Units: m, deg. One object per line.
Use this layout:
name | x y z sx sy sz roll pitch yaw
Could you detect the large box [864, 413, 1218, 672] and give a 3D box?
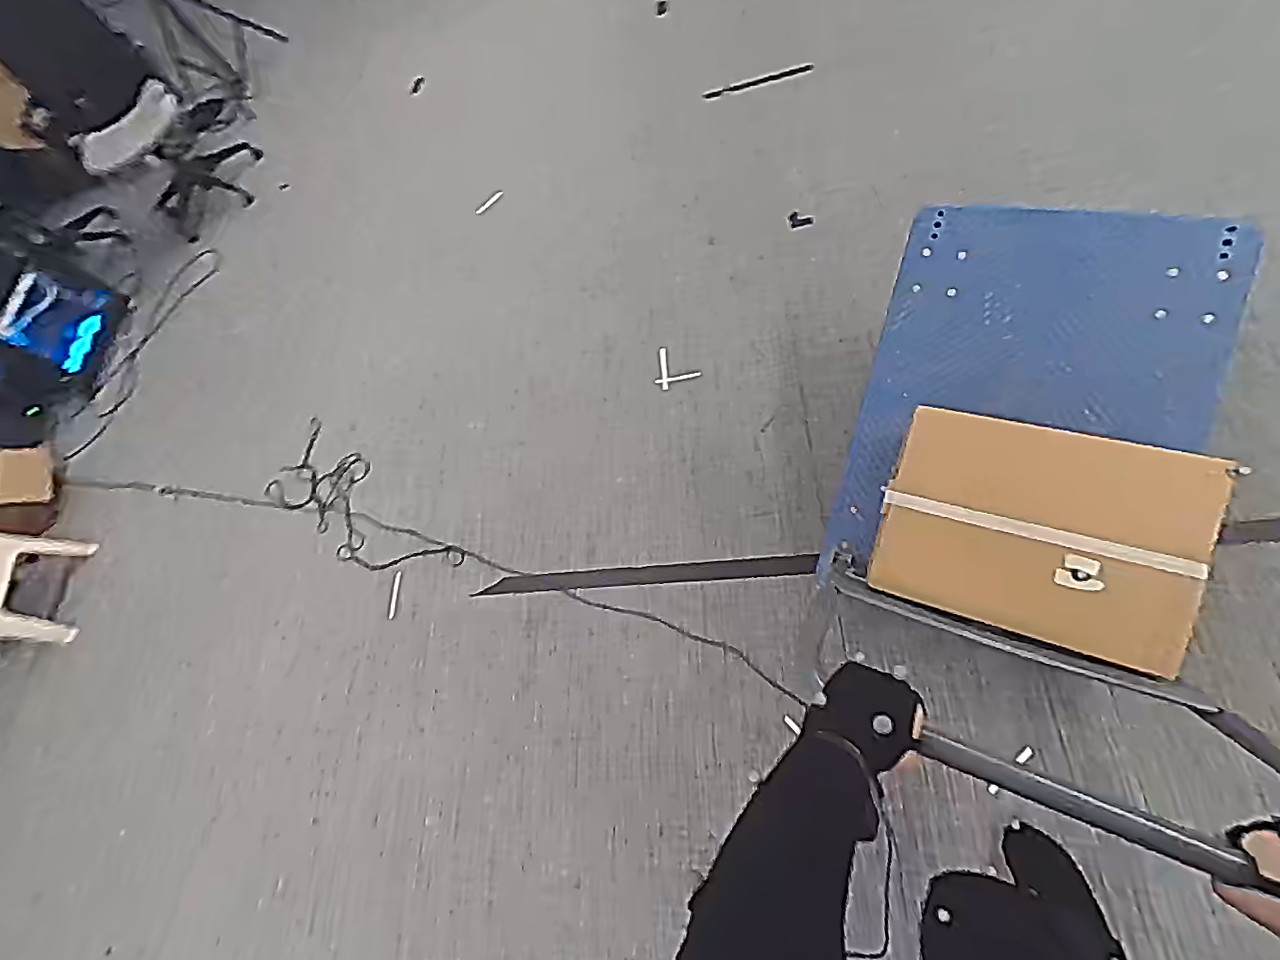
large box | 0.647 0.090 0.969 0.408 0.320 0.320 16 93 22
